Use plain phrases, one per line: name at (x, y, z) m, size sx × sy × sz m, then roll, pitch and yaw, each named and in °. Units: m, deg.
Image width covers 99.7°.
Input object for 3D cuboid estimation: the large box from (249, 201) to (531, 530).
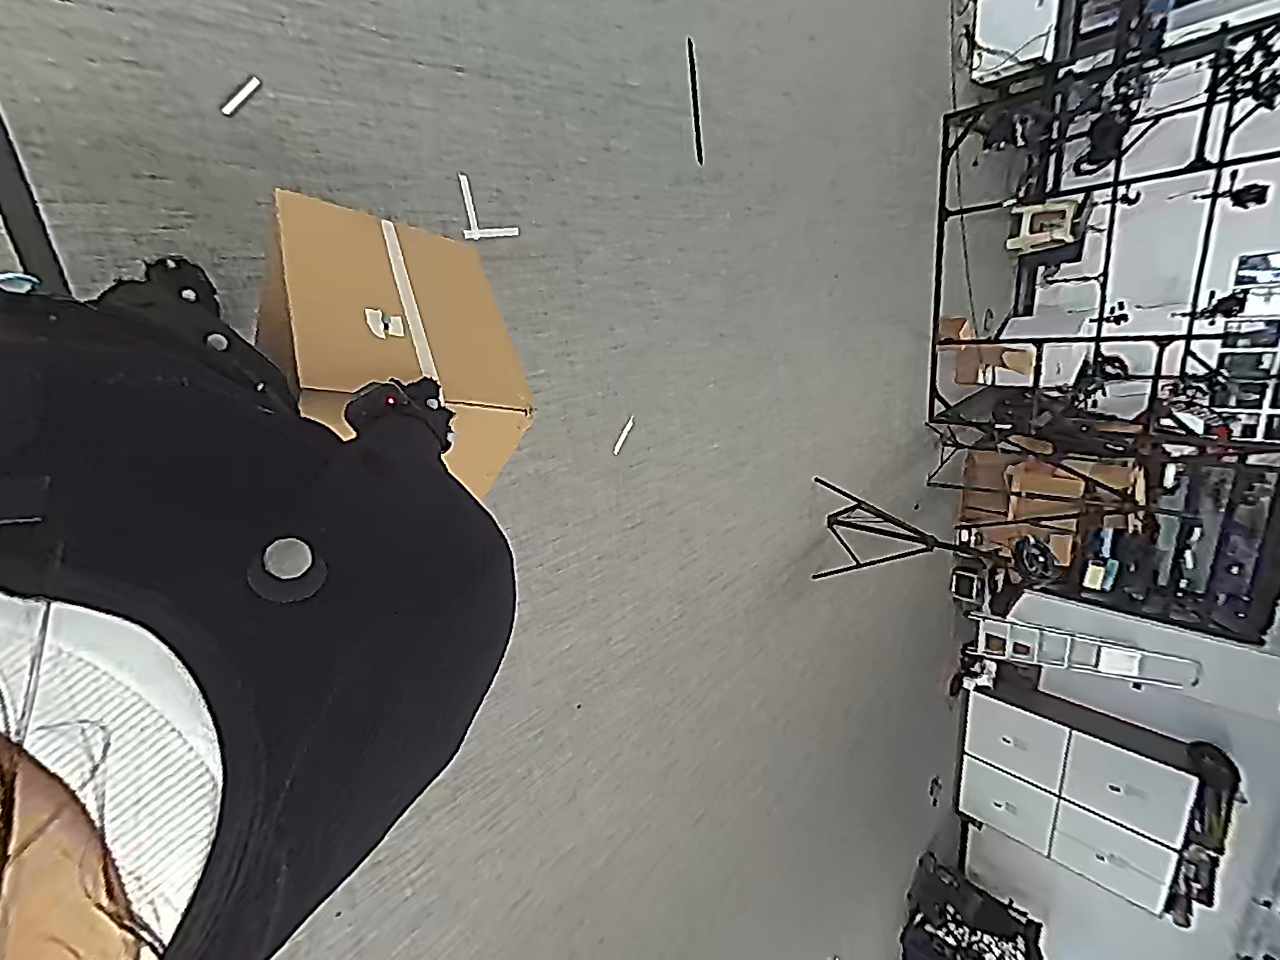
large box at (-0.439, -0.169, 0.908) m, size 0.320 × 0.320 × 0.408 m, roll 0°, pitch 55°, yaw -41°
